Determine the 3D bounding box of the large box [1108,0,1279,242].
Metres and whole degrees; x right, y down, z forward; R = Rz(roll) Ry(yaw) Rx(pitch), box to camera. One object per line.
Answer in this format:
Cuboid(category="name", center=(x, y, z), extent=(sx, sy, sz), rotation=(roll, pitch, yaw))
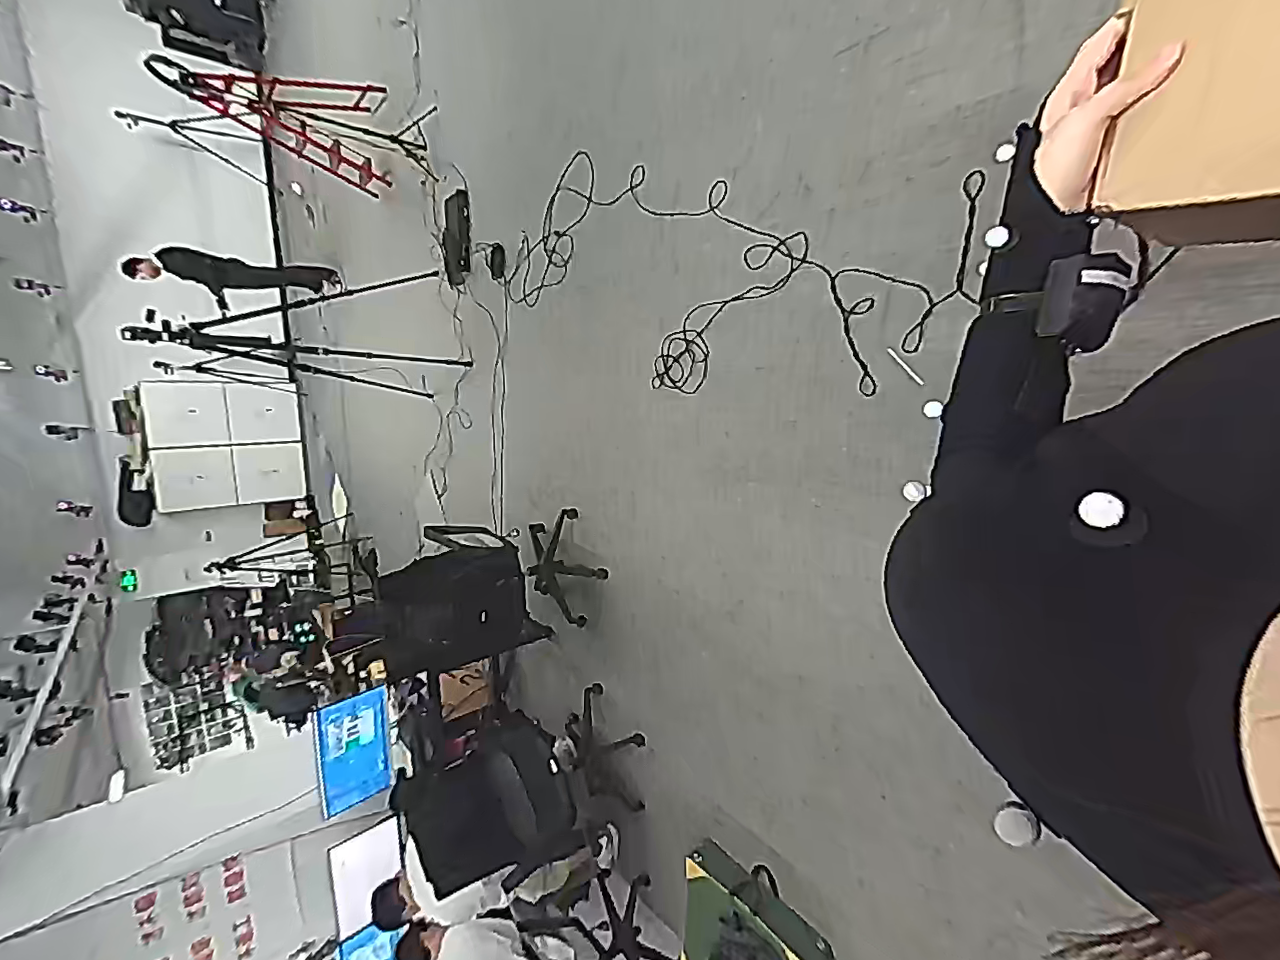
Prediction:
Cuboid(category="large box", center=(0.586, -0.340, 0.314), extent=(0.408, 0.320, 0.320), rotation=(18, 115, 46))
